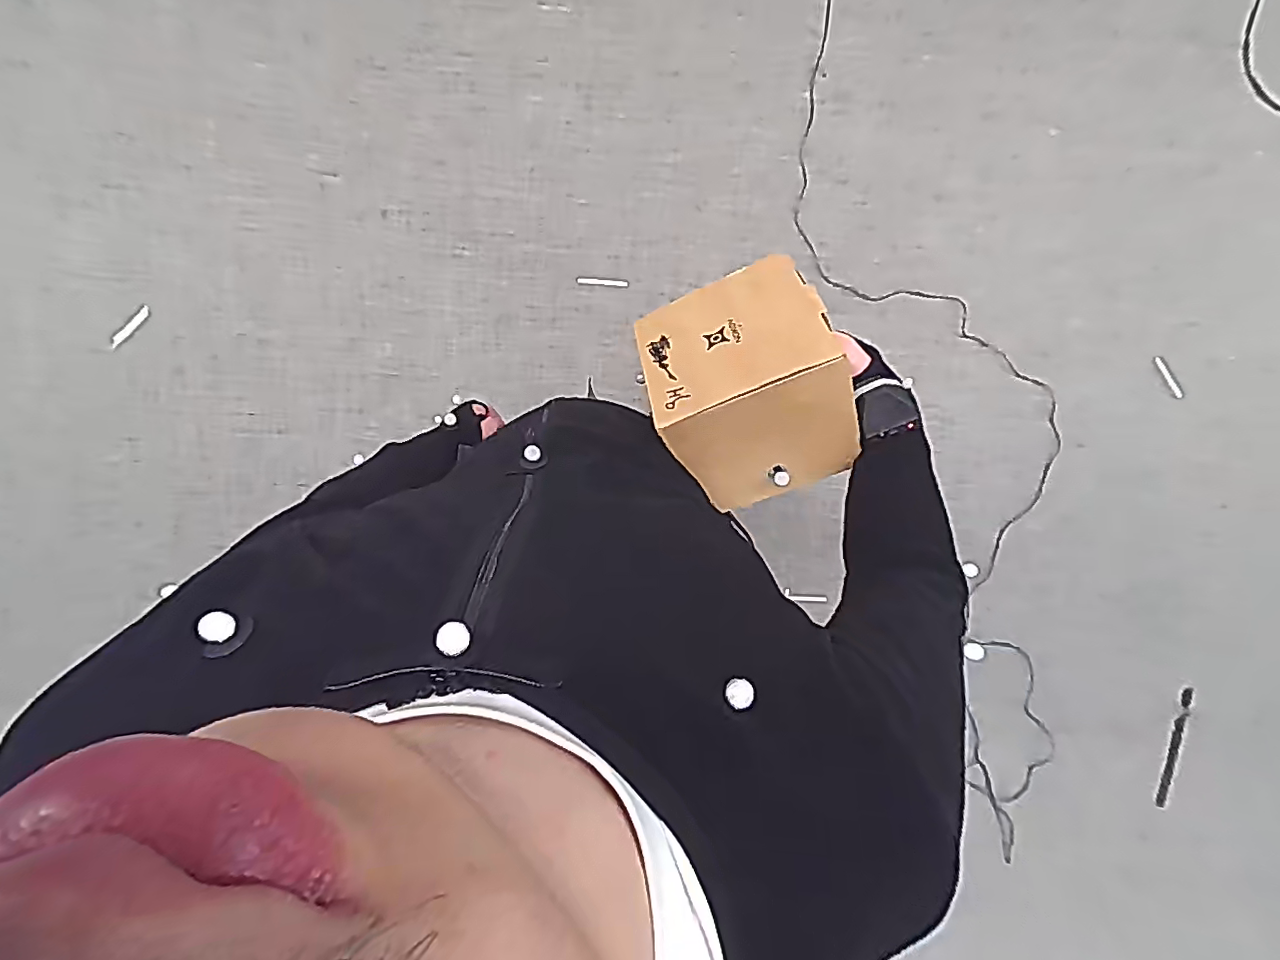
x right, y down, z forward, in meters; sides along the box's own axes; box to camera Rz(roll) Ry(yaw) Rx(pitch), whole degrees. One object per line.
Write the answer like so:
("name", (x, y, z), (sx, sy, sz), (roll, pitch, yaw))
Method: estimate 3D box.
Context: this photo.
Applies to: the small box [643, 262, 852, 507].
("small box", (0.122, -0.097, 0.597), (0.179, 0.168, 0.176), (-20, 140, 13))
